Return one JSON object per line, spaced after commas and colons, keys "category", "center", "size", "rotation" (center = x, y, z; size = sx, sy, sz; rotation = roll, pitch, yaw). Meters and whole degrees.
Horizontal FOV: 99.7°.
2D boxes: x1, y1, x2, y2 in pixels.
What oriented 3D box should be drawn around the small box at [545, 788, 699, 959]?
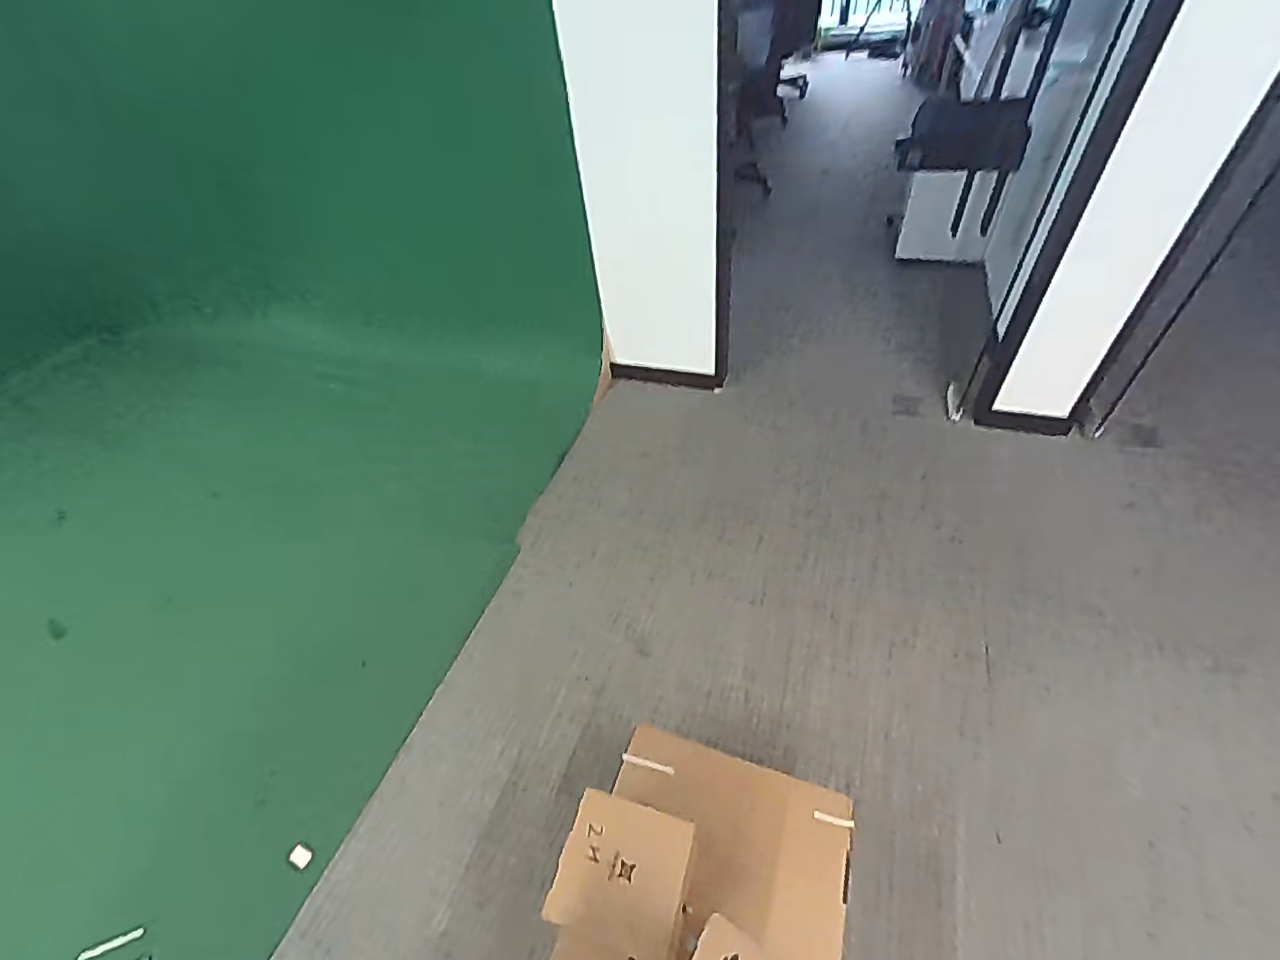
{"category": "small box", "center": [-0.014, 0.596, 0.806], "size": [0.179, 0.176, 0.168], "rotation": [10, 46, 17]}
